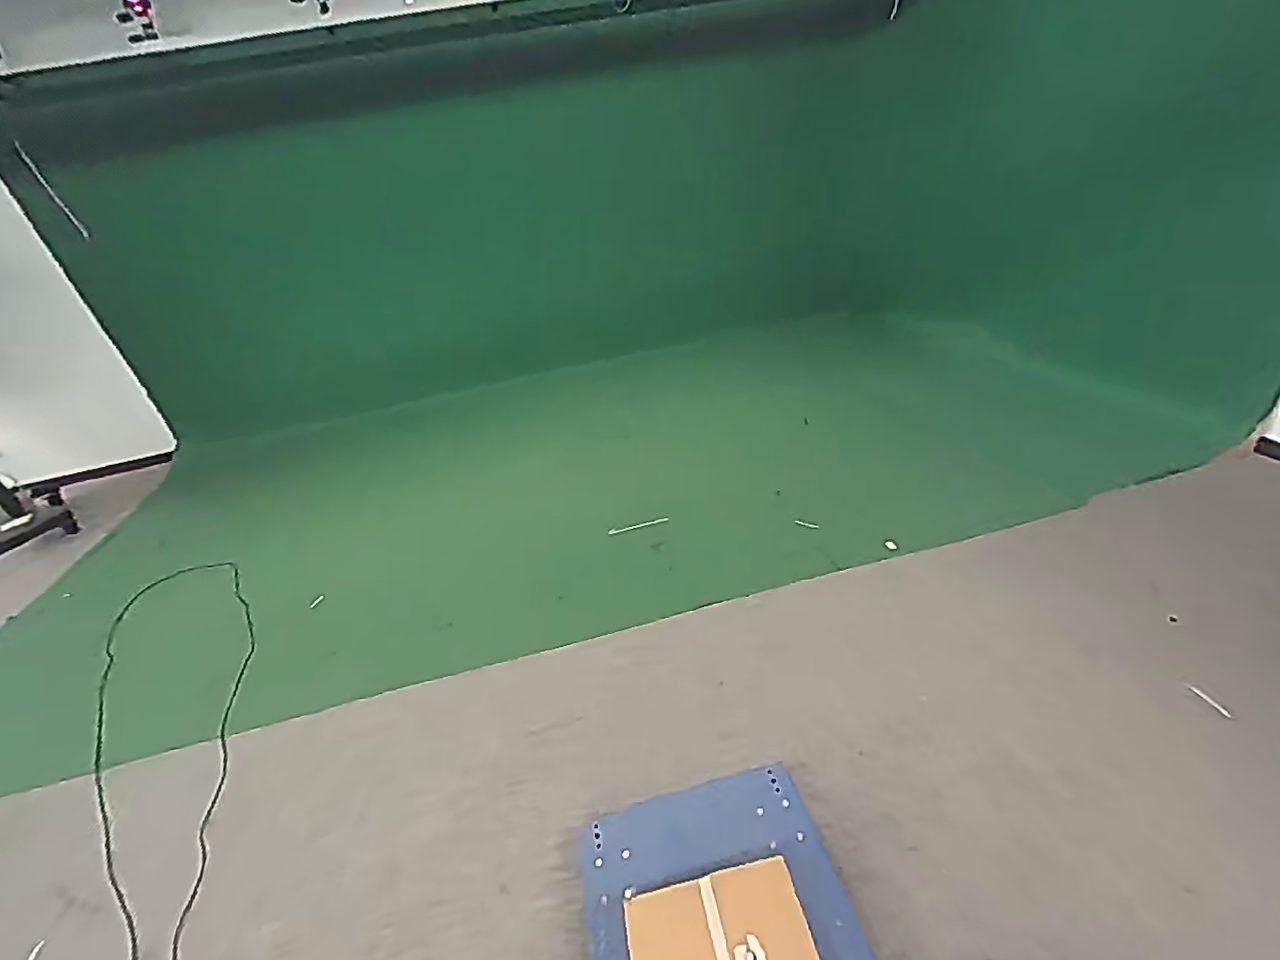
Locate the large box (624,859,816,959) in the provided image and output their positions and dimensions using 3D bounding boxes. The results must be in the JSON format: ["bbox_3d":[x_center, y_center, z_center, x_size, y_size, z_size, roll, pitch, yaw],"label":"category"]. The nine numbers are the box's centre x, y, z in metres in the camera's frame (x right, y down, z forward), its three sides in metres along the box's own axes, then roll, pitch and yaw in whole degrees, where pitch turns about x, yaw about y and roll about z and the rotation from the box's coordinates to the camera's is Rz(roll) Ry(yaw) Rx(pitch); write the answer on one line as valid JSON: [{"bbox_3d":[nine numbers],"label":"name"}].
[{"bbox_3d":[0.177,0.978,0.928,0.320,0.320,0.408,-13,31,-4],"label":"large box"}]
